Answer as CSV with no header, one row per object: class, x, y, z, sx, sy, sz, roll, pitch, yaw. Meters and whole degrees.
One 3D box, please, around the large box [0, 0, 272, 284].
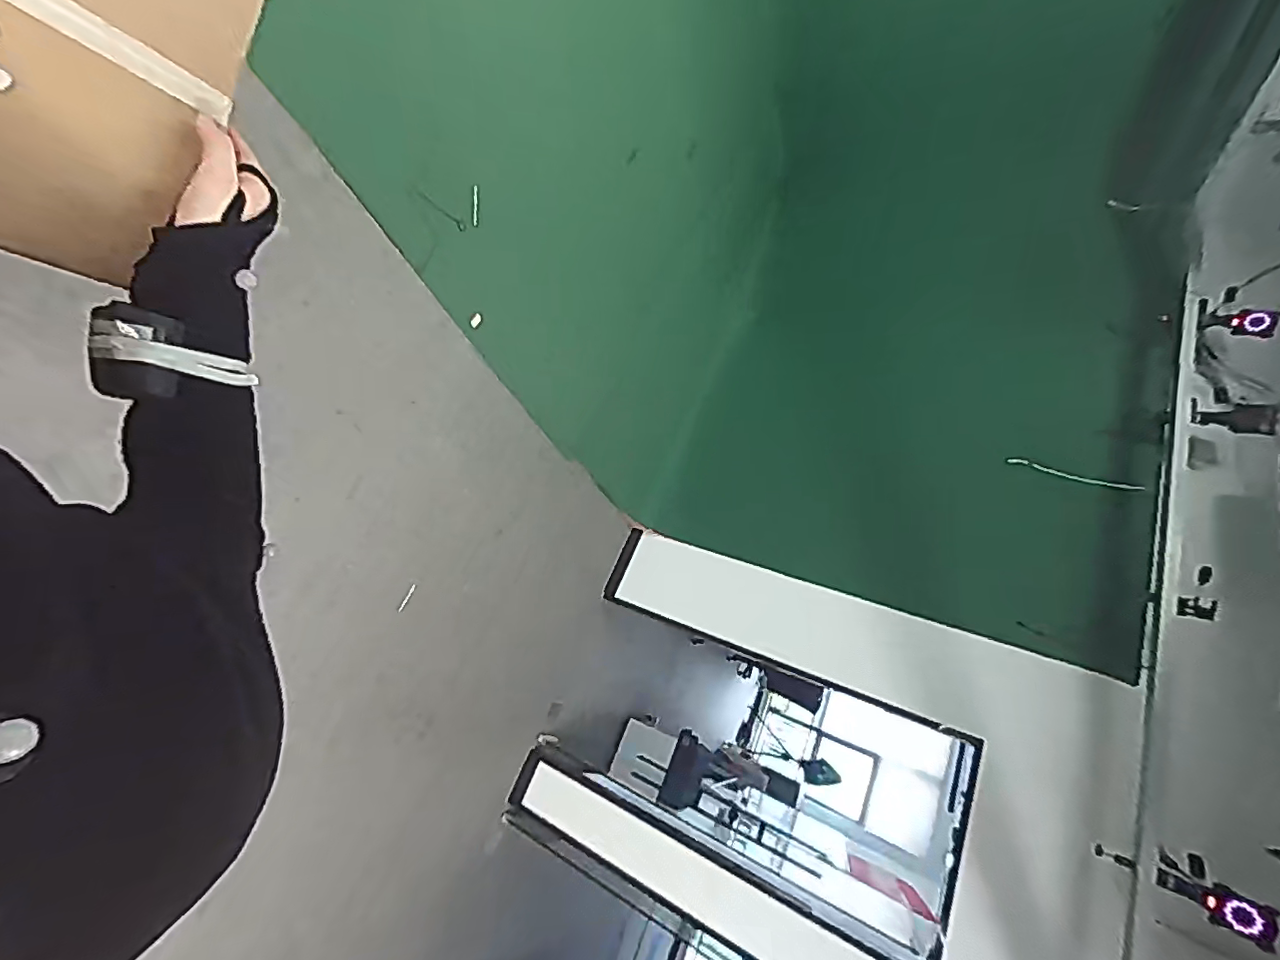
large box,-0.540,-0.377,0.349,0.408,0.320,0.320,13,101,-56
